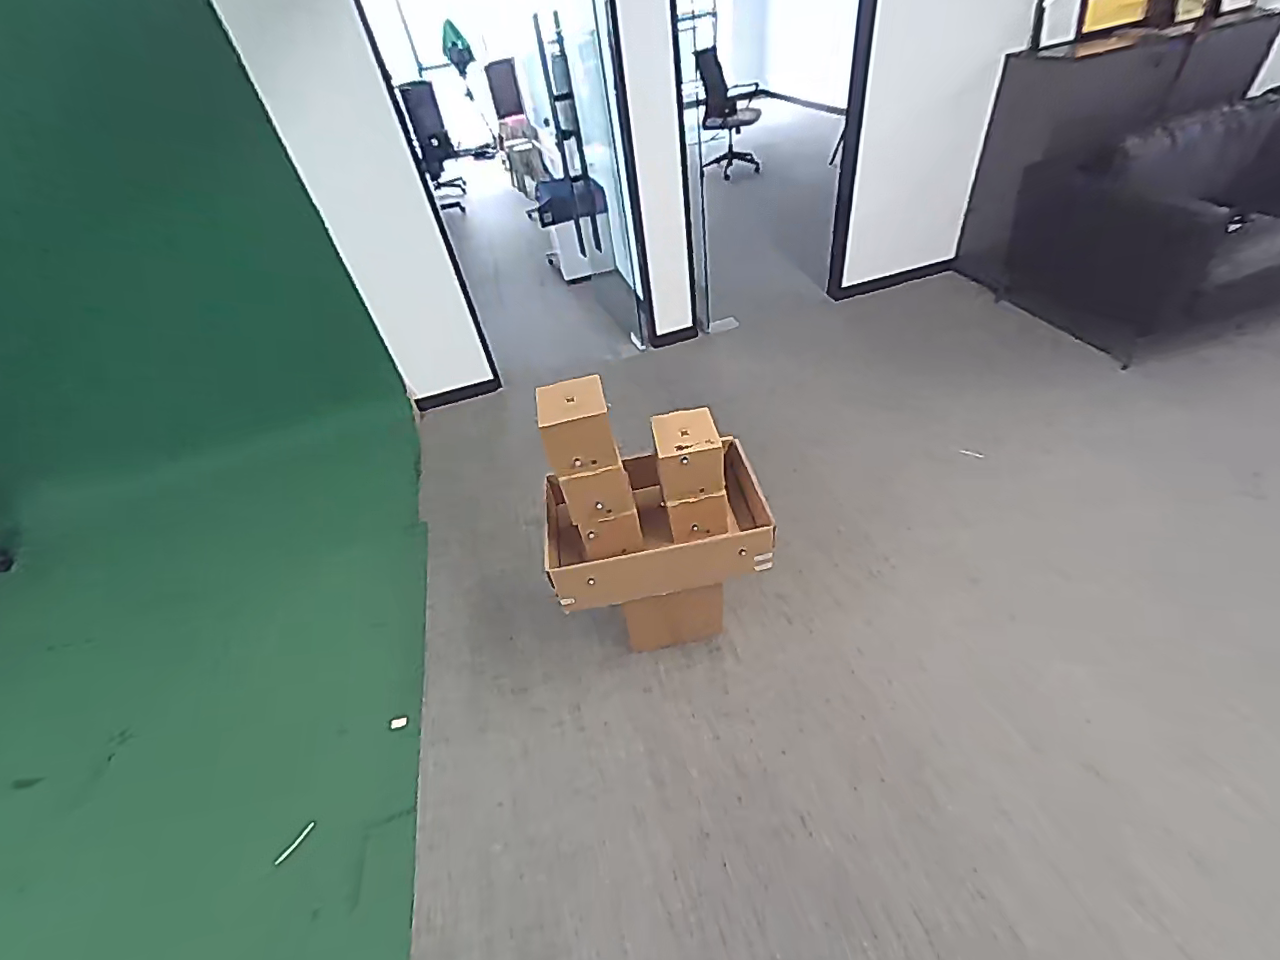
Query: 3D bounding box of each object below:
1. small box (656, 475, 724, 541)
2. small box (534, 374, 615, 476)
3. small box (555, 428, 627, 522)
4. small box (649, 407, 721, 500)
[{"bbox_3d":[0.142,0.052,1.579,0.168,0.176,0.179,-11,45,-2],"label":"small box"},{"bbox_3d":[-0.163,-0.137,1.349,0.168,0.176,0.179,-13,43,-3],"label":"small box"},{"bbox_3d":[-0.136,-0.015,1.454,0.168,0.176,0.179,-14,44,-4],"label":"small box"},{"bbox_3d":[0.121,-0.070,1.471,0.168,0.176,0.179,-10,44,0],"label":"small box"}]
